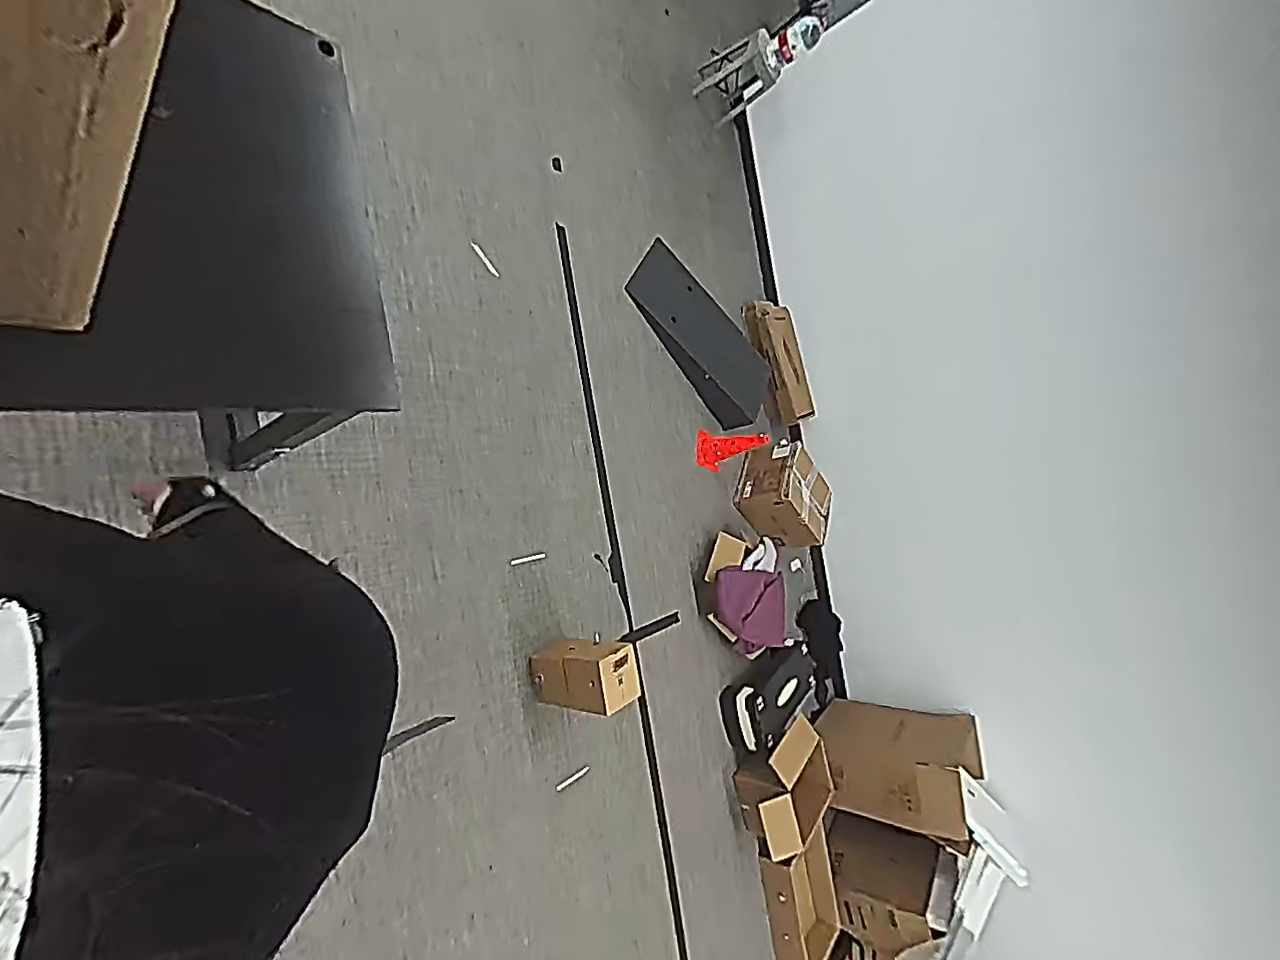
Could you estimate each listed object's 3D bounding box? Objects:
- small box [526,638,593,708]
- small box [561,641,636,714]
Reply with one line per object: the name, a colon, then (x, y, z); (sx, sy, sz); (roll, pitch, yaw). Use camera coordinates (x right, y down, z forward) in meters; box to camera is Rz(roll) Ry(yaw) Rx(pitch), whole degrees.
small box: (-0.264, 0.657, 1.866); (0.179, 0.176, 0.168); (-16, 94, -49)
small box: (-0.138, 0.635, 1.762); (0.168, 0.176, 0.179); (-9, 89, -50)
